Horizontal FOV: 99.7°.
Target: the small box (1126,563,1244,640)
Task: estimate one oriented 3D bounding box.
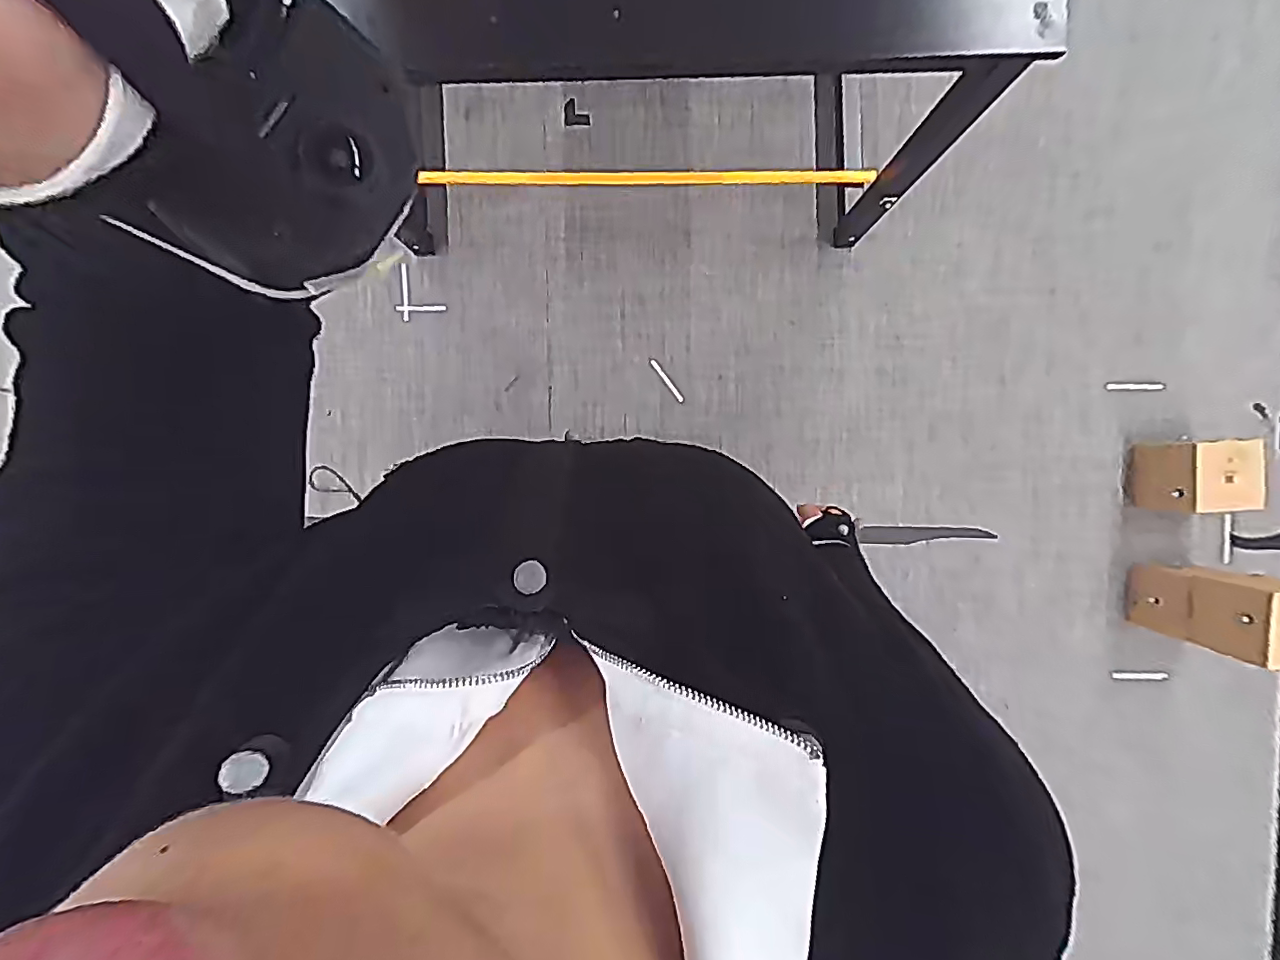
[{"bbox_3d":[1.434,0.316,1.419,0.179,0.176,0.168,2,93,1],"label":"small box"}]

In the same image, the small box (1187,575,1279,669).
[{"bbox_3d":[1.433,0.321,1.254,0.168,0.176,0.179,0,94,0],"label":"small box"}]

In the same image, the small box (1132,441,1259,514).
[{"bbox_3d":[1.426,-0.011,1.400,0.168,0.176,0.179,-3,92,0],"label":"small box"}]
